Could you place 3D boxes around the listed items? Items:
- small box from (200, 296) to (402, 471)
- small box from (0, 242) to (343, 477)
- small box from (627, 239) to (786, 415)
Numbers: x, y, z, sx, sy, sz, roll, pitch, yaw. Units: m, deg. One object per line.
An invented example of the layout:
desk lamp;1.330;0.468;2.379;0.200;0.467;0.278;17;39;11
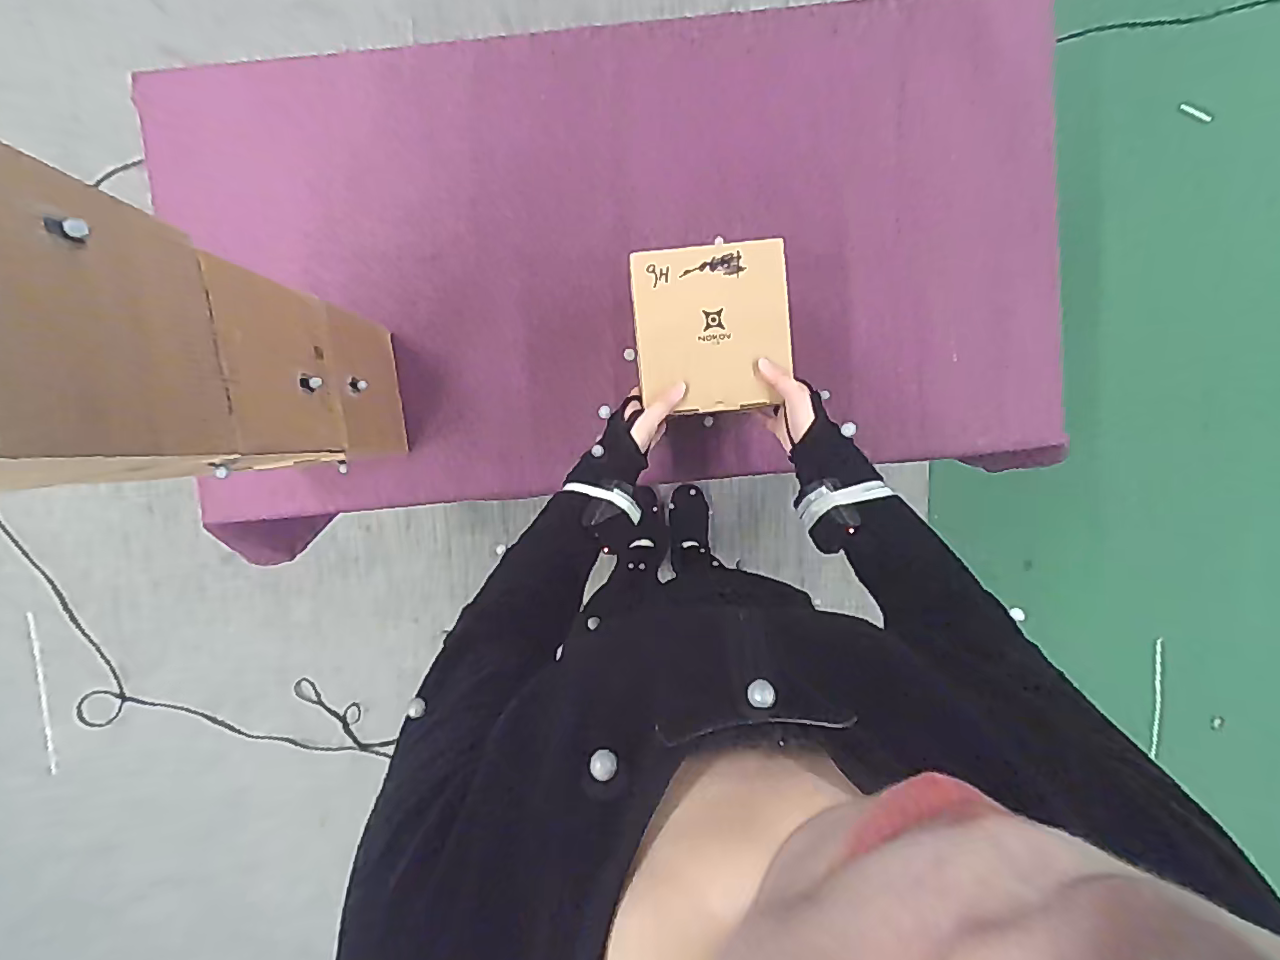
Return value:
small box;-0.413;-0.111;0.663;0.168;0.176;0.179;-7;94;-1
small box;-0.415;-0.098;0.502;0.179;0.176;0.168;-9;95;-1
small box;0.074;-0.173;0.661;0.168;0.176;0.179;-5;96;0
